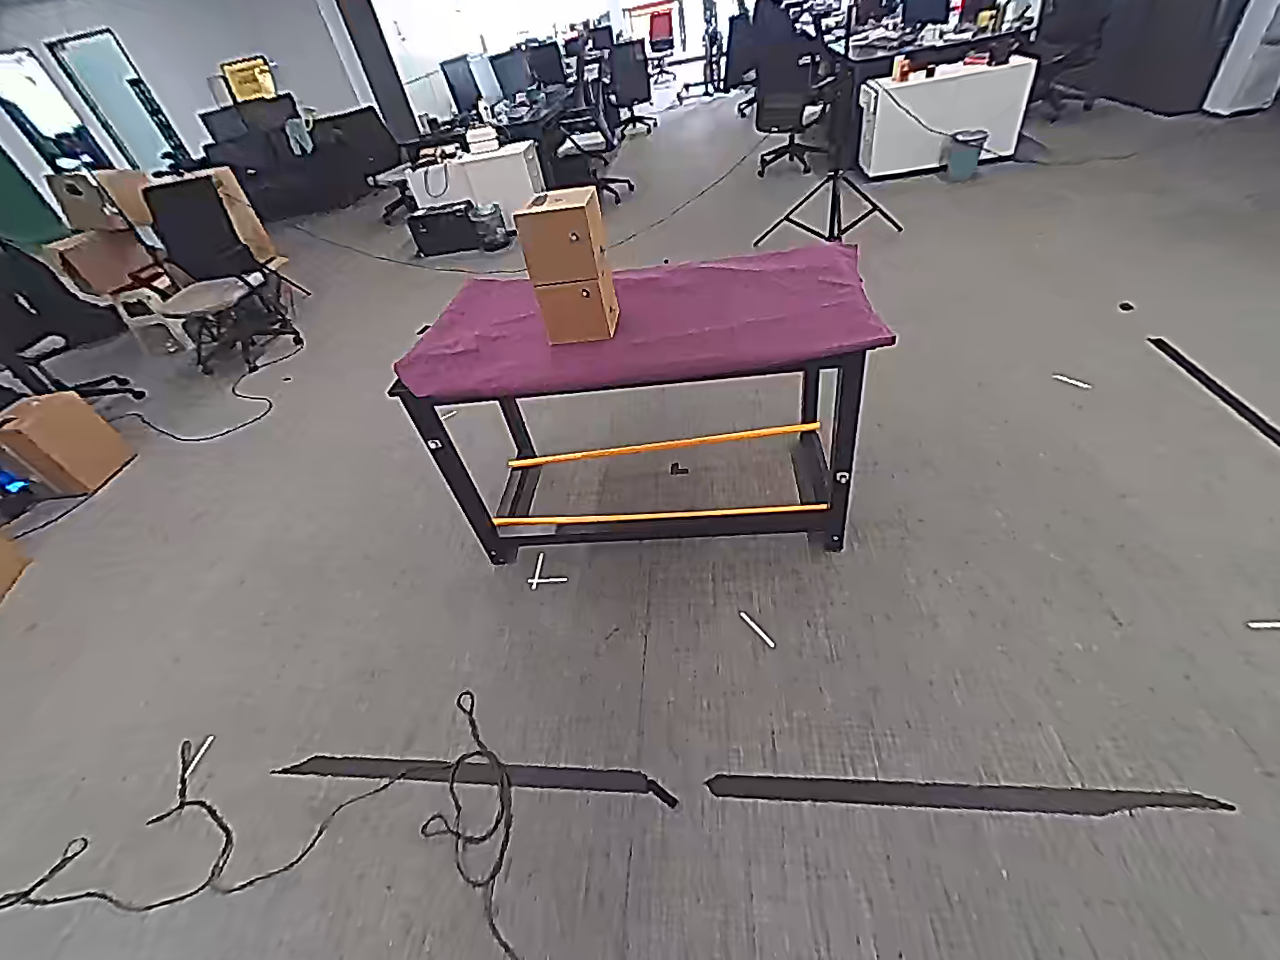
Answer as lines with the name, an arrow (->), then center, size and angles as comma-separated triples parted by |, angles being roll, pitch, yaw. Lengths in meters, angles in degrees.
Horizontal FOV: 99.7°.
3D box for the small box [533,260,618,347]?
small box -> -0.166, -0.471, 1.455 | 0.179, 0.176, 0.168 | -3, 42, 10
